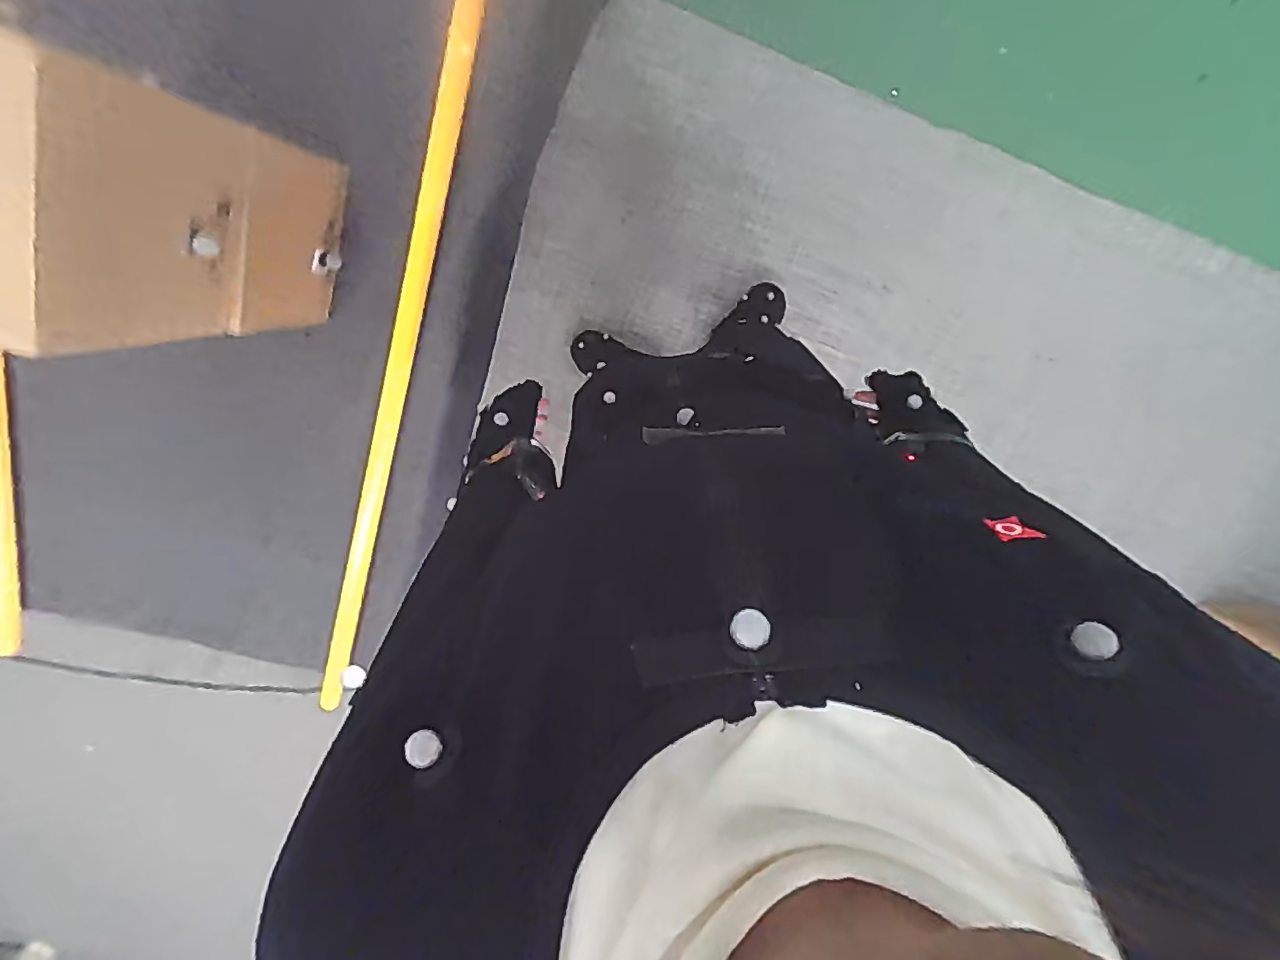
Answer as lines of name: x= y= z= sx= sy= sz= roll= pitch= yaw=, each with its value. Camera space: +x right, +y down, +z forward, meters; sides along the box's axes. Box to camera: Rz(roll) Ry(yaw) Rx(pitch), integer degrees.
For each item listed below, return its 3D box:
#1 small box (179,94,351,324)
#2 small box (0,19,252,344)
small box: x=-0.409 y=-0.259 z=0.512 sx=0.179 sy=0.176 sz=0.168 roll=15 pitch=110 yaw=-8
small box: x=-0.408 y=-0.205 z=0.357 sx=0.179 sy=0.176 sz=0.168 roll=19 pitch=109 yaw=-9
